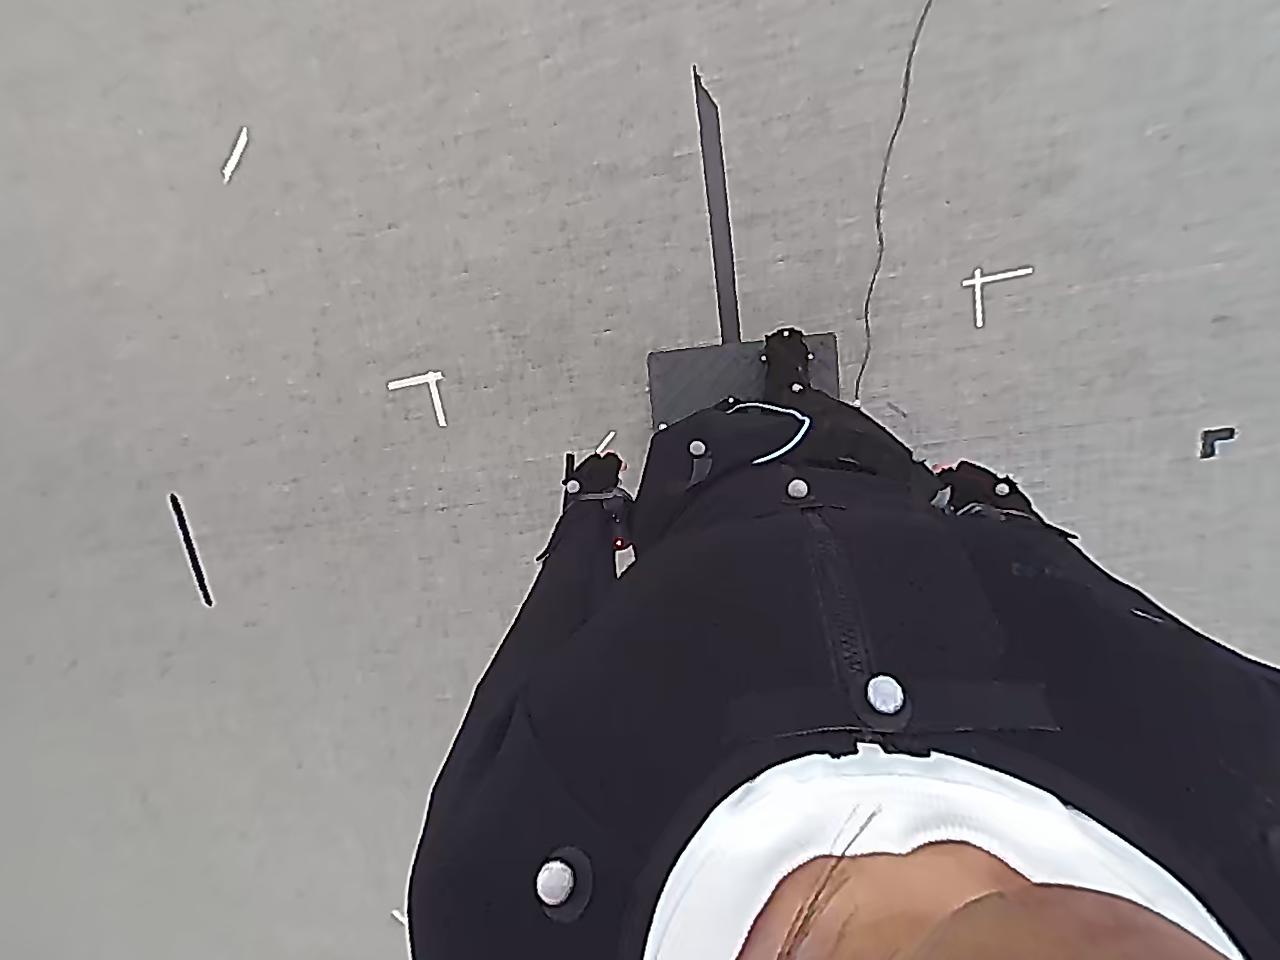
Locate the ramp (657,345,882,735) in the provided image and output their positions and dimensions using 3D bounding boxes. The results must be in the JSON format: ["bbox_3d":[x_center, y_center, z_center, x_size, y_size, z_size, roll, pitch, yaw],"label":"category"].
[{"bbox_3d":[0.329,0.167,1.432,0.509,0.206,0.991,-7,98,11],"label":"ramp"}]
